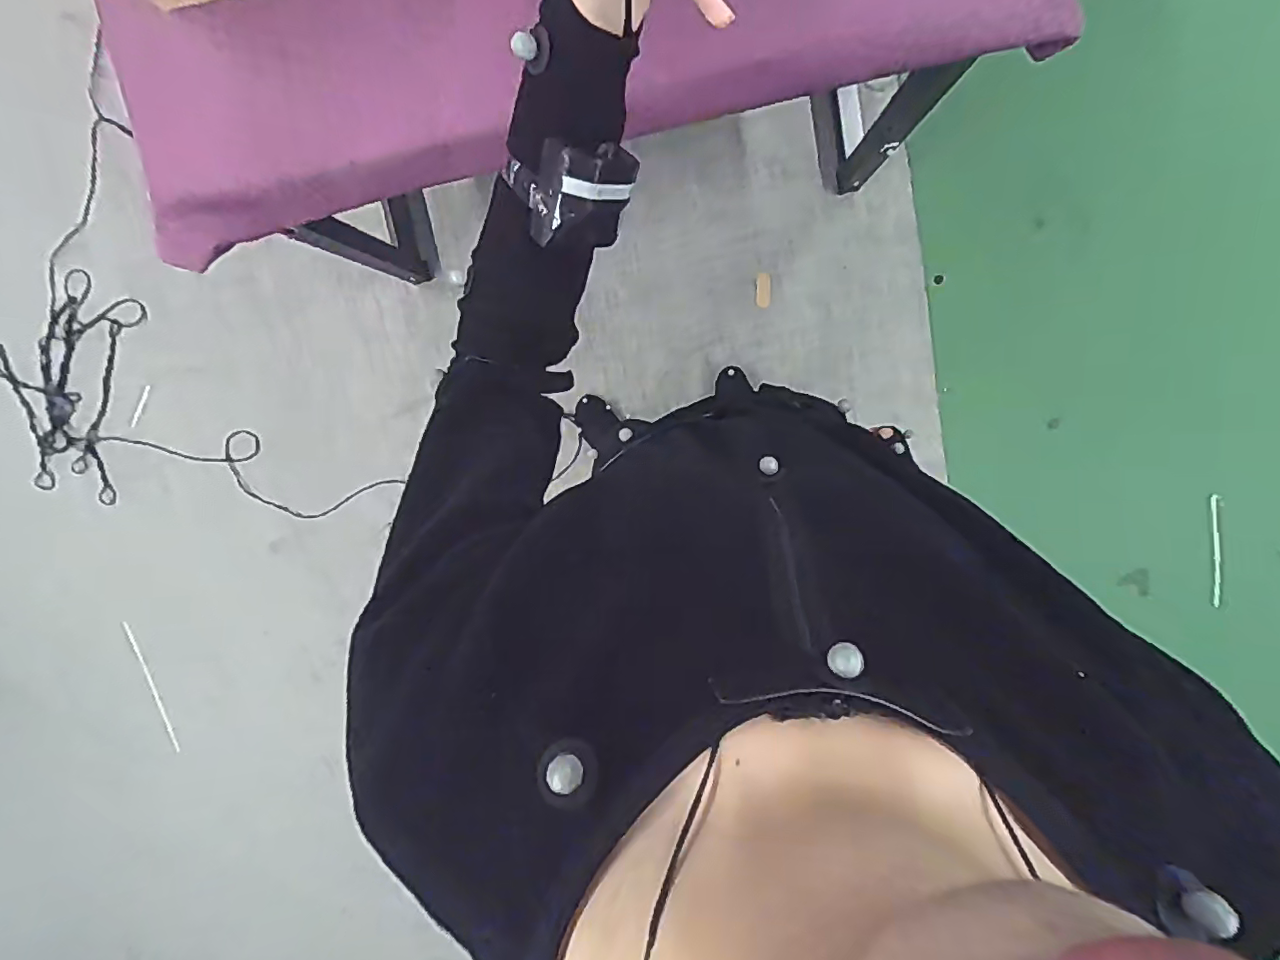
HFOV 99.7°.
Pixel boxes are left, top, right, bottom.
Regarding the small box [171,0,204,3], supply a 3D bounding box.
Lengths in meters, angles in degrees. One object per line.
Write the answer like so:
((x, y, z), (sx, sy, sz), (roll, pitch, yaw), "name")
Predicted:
((-0.557, -0.694, 0.614), (0.168, 0.176, 0.179), (-8, 98, 6), "small box")
